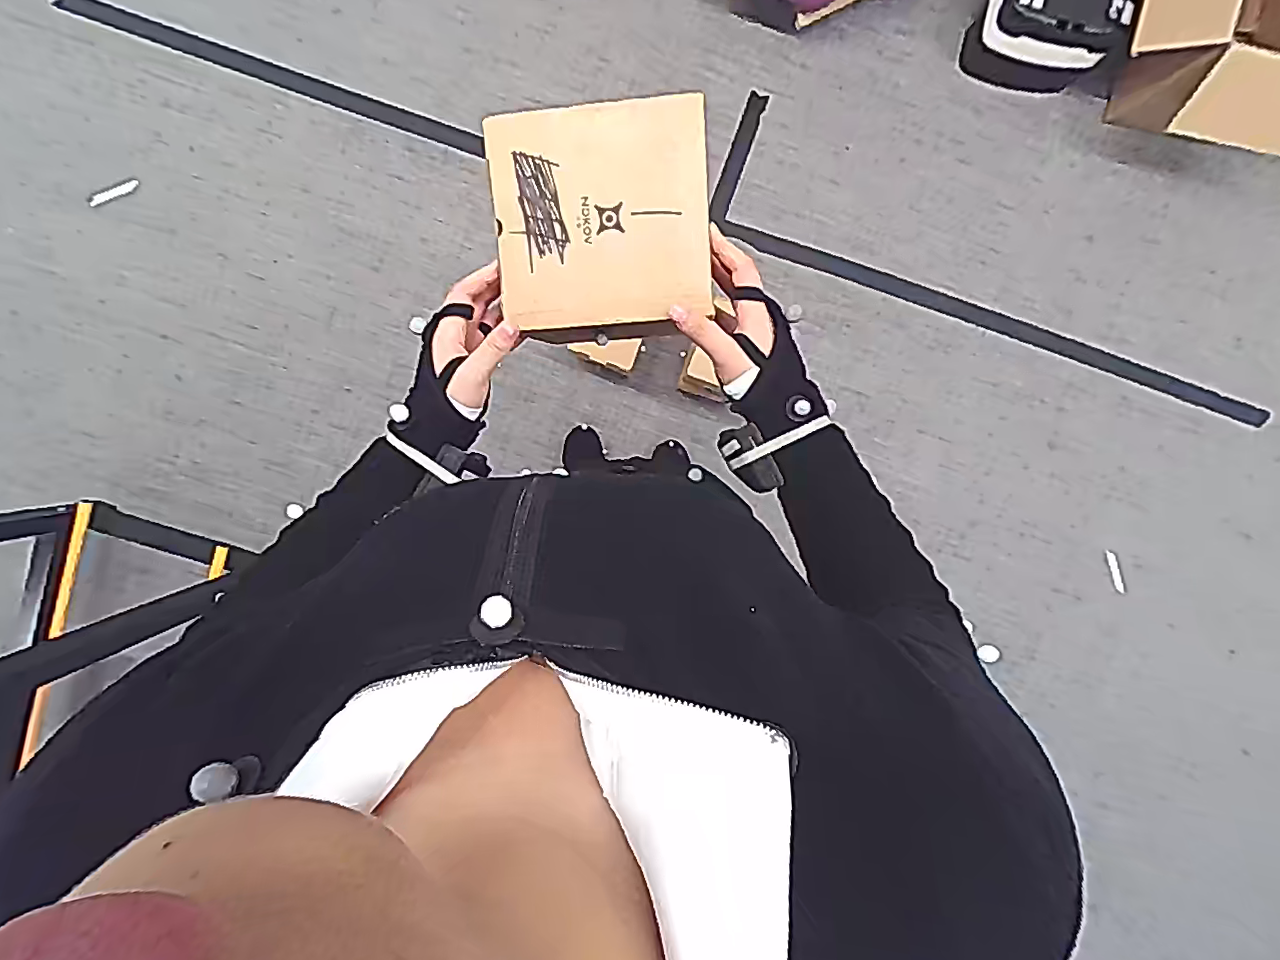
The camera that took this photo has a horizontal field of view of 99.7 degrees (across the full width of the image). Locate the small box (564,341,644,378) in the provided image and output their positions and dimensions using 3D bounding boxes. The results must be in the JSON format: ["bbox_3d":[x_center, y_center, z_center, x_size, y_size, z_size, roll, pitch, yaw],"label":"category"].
[{"bbox_3d":[-0.076,-0.367,1.364,0.168,0.176,0.179,21,96,-2],"label":"small box"}]

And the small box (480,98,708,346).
[{"bbox_3d":[-0.029,-0.217,0.503,0.179,0.176,0.168,-2,101,4],"label":"small box"}]

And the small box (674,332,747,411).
[{"bbox_3d":[0.197,-0.281,1.375,0.179,0.176,0.168,18,96,-2],"label":"small box"}]

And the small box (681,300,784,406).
[{"bbox_3d":[0.197,-0.275,1.212,0.168,0.176,0.179,20,97,-2],"label":"small box"}]
